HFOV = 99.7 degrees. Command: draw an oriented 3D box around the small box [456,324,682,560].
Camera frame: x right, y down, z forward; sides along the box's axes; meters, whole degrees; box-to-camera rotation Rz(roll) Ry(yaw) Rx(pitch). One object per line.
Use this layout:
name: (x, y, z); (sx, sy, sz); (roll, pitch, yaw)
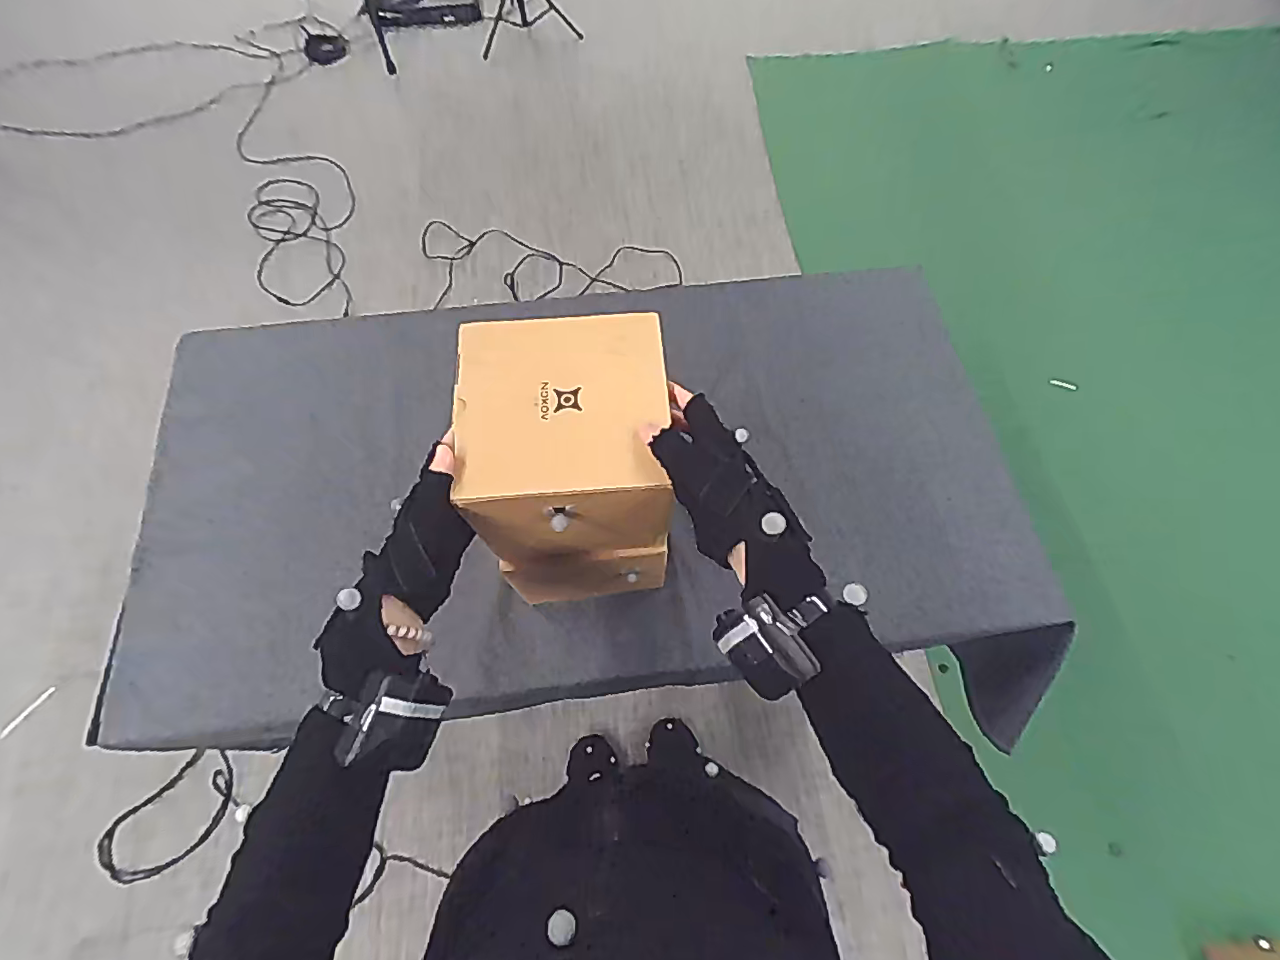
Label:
small box: (-0.061, -0.027, 0.518); (0.179, 0.176, 0.168); (-4, 66, -2)
